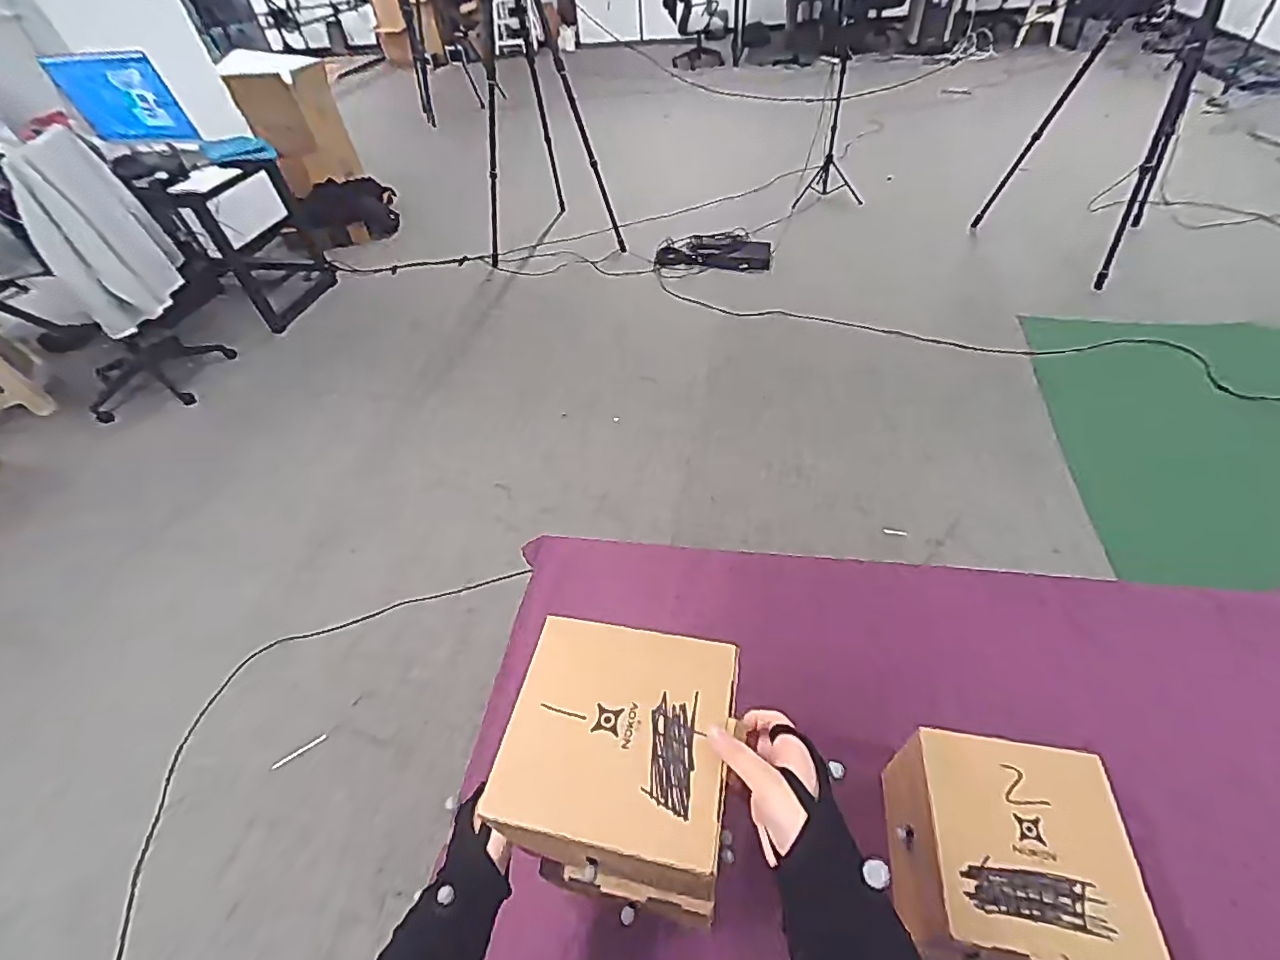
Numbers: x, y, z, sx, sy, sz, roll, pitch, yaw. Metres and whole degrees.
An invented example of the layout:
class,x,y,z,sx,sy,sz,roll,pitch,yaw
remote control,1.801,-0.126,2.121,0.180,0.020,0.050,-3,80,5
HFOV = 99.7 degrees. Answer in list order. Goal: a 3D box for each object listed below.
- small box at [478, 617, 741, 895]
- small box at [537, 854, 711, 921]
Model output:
class,x,y,z,sx,sy,sz,roll,pitch,yaw
small box,-0.011,0.249,0.486,0.179,0.176,0.168,7,49,12
small box,0.005,0.364,0.604,0.168,0.176,0.179,7,50,11
